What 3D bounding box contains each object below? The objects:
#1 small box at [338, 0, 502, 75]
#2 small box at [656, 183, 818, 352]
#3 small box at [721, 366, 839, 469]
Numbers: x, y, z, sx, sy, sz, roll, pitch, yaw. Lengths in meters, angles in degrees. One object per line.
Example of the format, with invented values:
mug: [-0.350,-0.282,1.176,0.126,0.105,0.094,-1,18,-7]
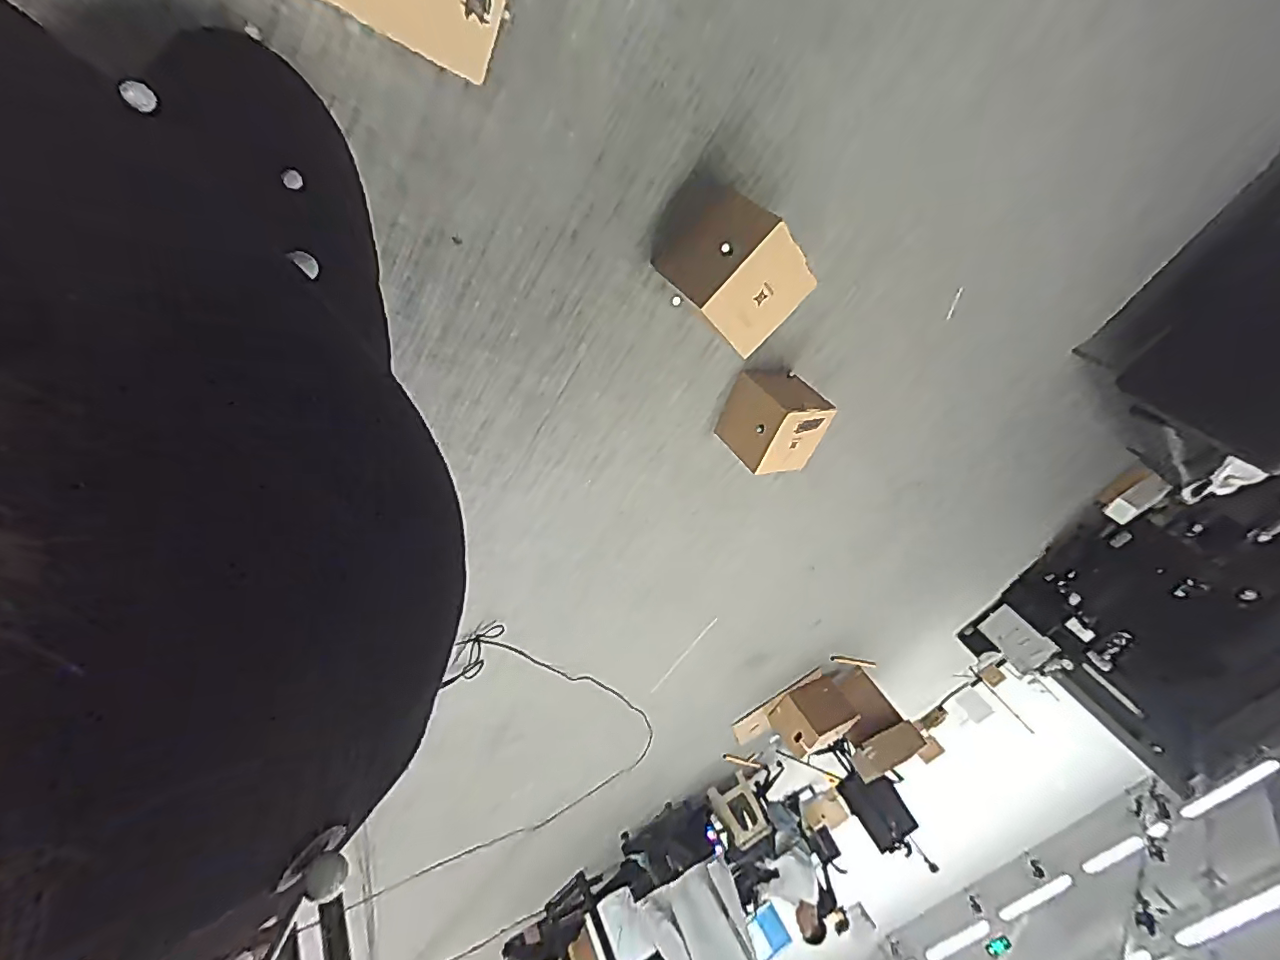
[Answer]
small box: [-0.218,-0.497,0.468,0.179,0.176,0.168,4,128,-39]
small box: [0.160,-0.360,0.913,0.179,0.176,0.168,-46,141,13]
small box: [0.316,-0.151,1.258,0.168,0.176,0.179,-7,135,-32]
